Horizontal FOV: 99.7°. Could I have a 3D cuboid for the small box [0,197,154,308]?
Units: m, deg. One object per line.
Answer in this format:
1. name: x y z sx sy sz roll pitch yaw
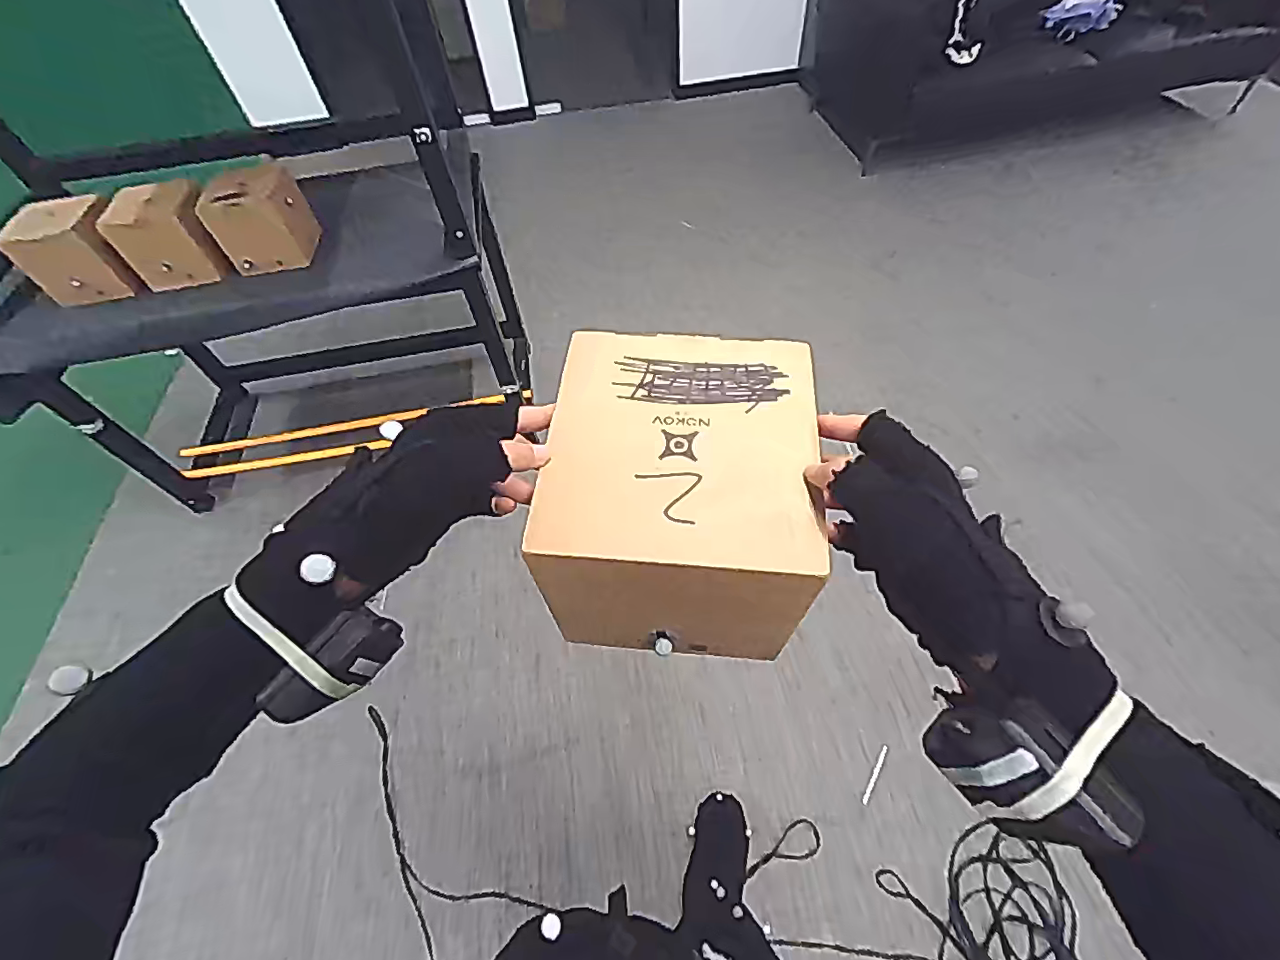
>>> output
1. small box: -1.312 -0.536 1.279 0.168 0.176 0.179 -12 54 -5
